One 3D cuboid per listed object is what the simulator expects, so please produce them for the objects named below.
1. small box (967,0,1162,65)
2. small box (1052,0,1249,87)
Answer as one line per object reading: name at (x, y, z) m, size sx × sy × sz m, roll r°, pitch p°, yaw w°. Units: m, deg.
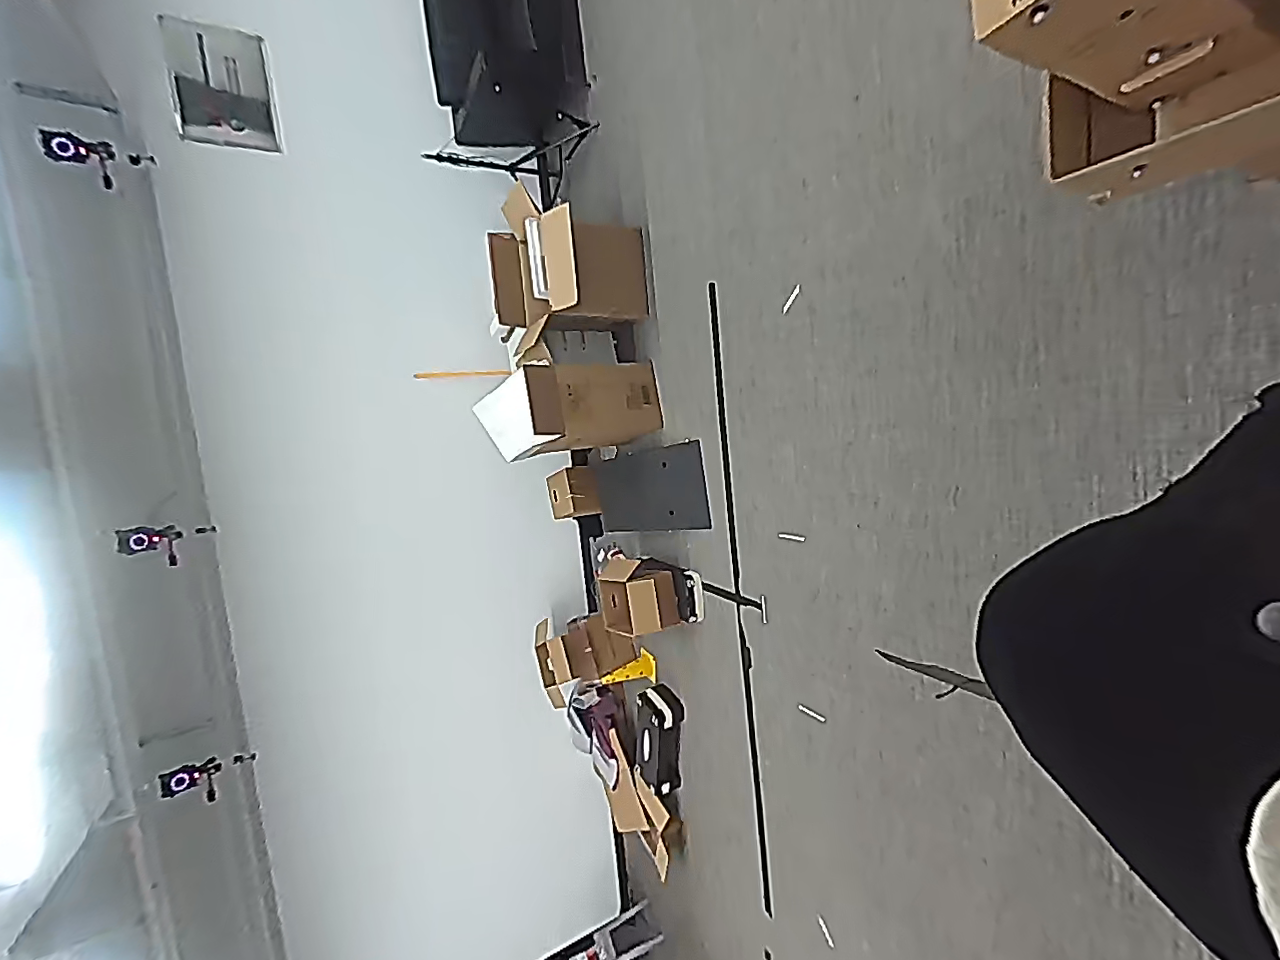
small box at (0.528, -0.660, 0.658) m, size 0.168 × 0.176 × 0.179 m, roll 1°, pitch 97°, yaw 63°
small box at (0.676, -0.681, 0.730) m, size 0.168 × 0.176 × 0.179 m, roll 0°, pitch 98°, yaw 62°
